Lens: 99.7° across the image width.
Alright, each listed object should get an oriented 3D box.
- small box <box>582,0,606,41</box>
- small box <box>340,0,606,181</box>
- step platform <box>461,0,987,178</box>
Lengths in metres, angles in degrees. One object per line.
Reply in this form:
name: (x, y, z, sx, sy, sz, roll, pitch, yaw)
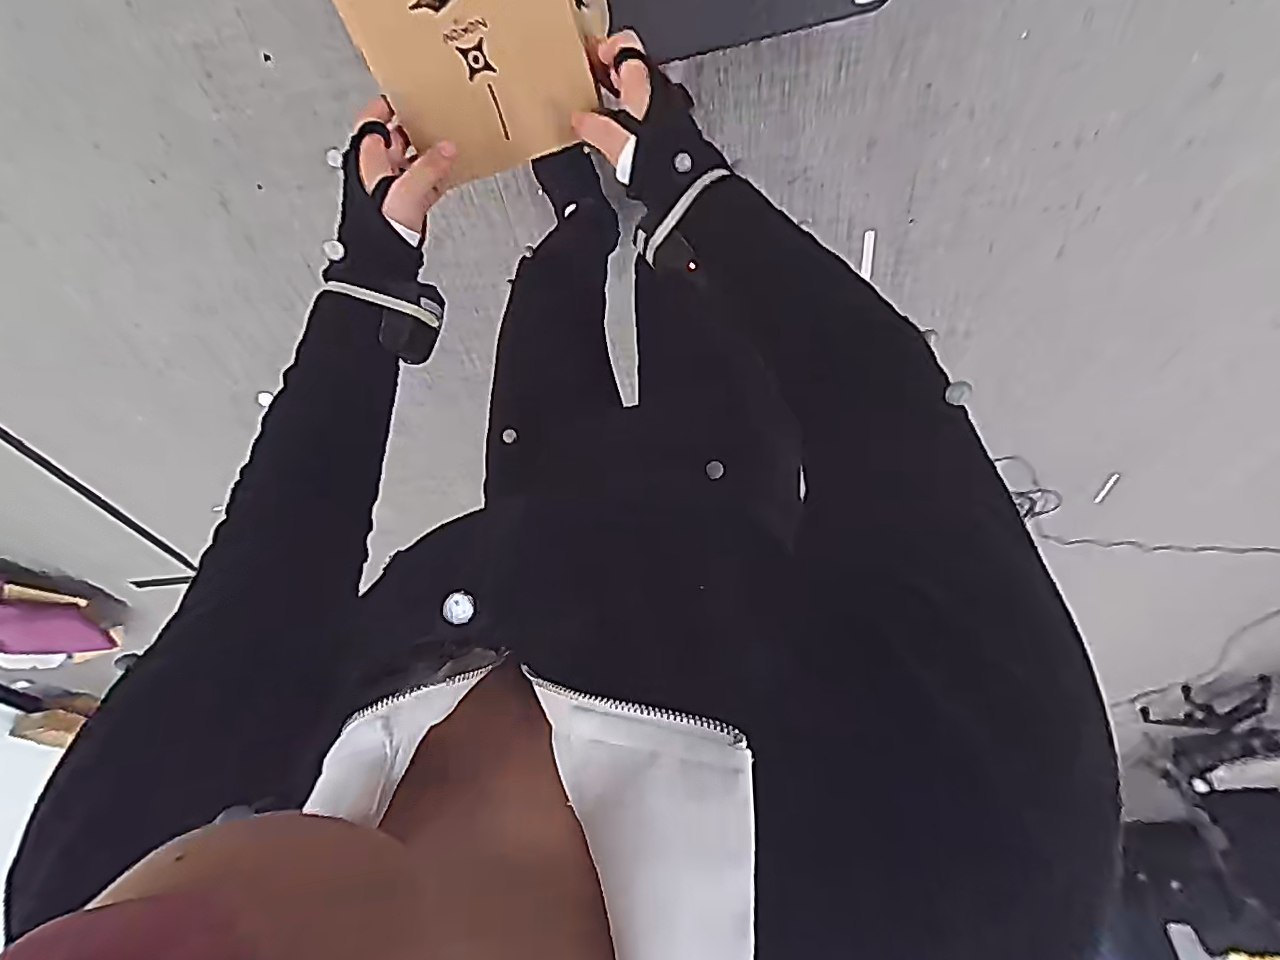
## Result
small box: (-0.139, -0.631, 0.646, 0.168, 0.176, 0.179, -8, 137, 8)
small box: (-0.136, -0.401, 0.465, 0.168, 0.176, 0.179, -13, 140, 9)
step platform: (0.031, -0.597, 0.635, 0.684, 0.204, 0.286, -9, 137, 8)
